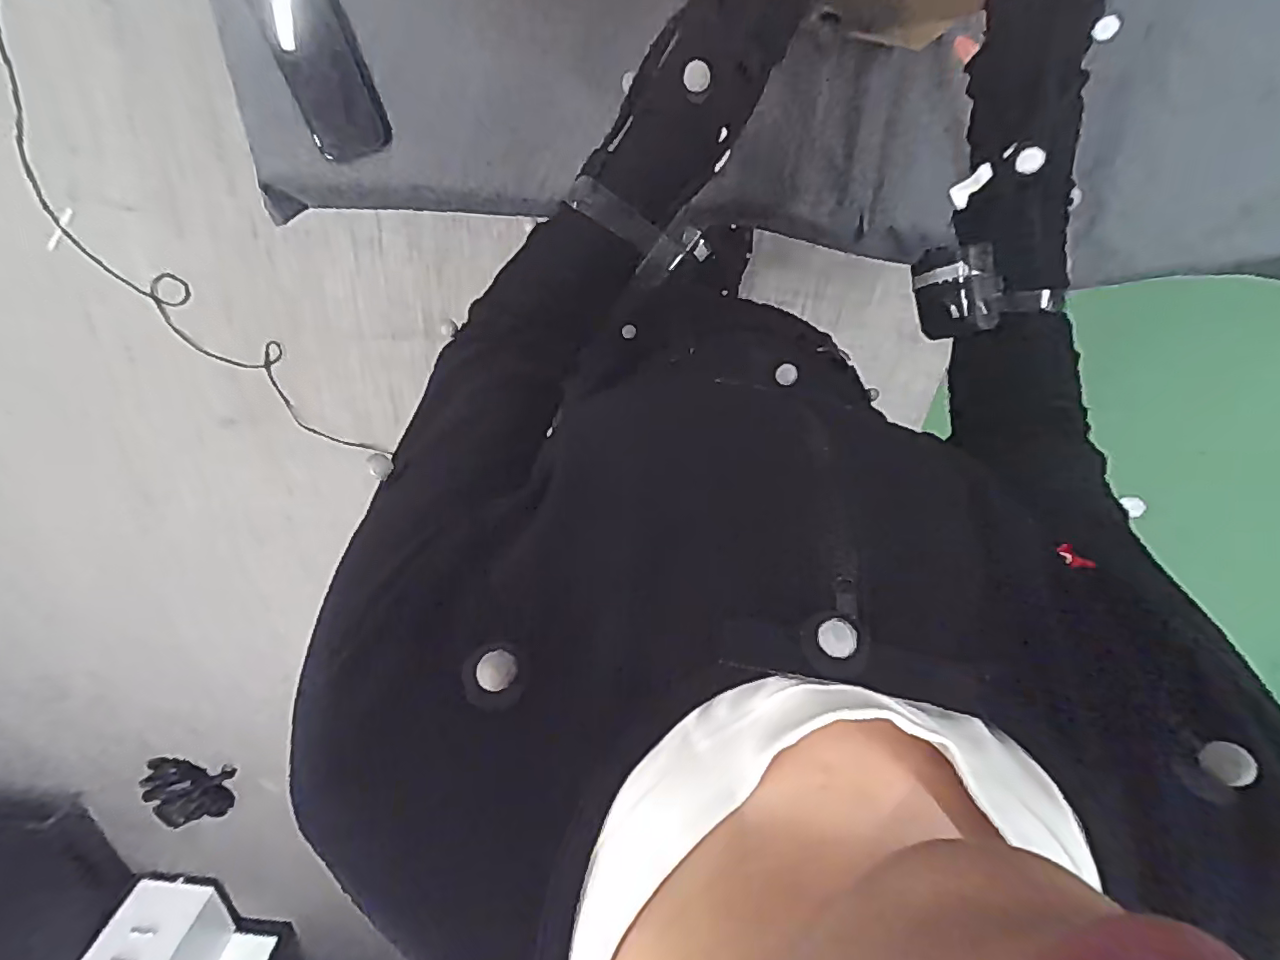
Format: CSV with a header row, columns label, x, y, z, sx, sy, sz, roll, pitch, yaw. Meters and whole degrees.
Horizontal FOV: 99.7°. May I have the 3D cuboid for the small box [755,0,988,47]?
label,x,y,z,sx,sy,sz,roll,pitch,yaw
small box,0.186,-0.446,0.376,0.168,0.176,0.179,7,114,-4
